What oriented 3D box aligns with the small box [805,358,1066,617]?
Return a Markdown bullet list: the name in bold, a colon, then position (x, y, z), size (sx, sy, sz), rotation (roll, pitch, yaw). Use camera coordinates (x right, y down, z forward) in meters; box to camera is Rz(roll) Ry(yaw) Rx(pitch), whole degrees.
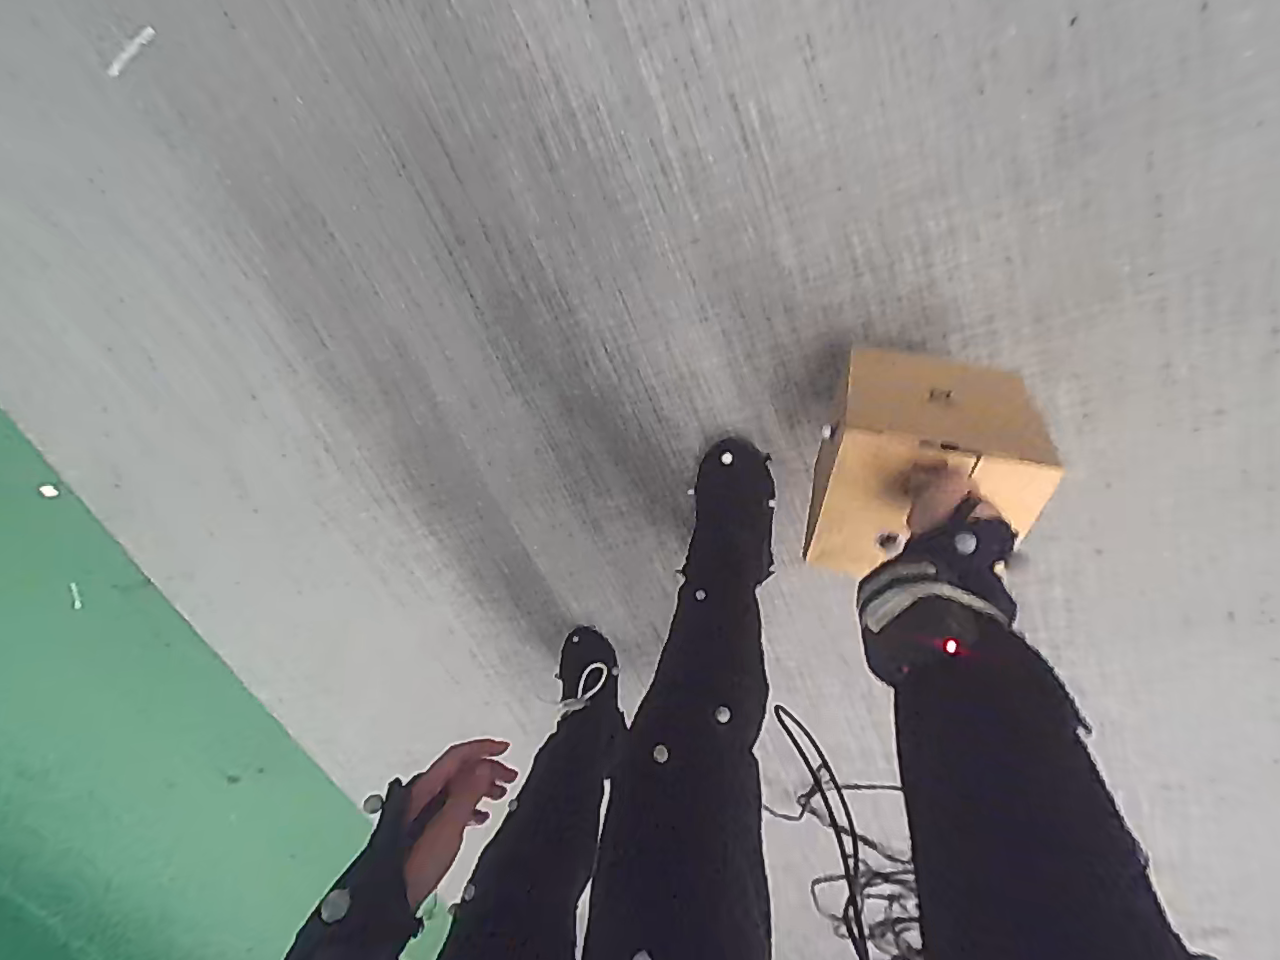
- **small box**: position (0.268, 0.002, 0.539), size (0.168, 0.179, 0.176), rotation (12, 129, 12)
